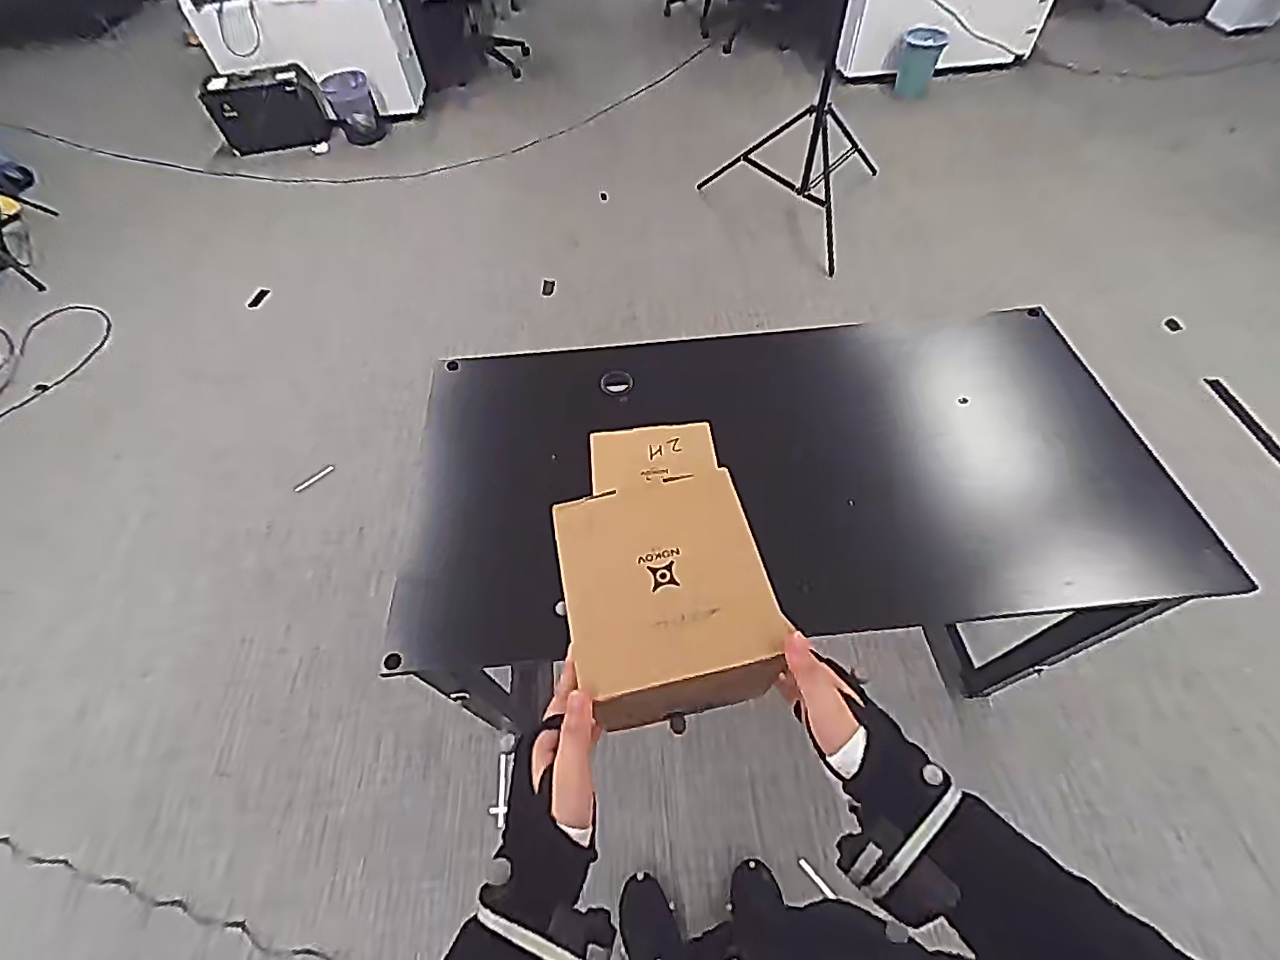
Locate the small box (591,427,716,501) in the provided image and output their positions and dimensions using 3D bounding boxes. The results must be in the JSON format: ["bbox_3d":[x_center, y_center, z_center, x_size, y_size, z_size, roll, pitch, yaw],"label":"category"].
[{"bbox_3d":[0.024,0.050,0.769,0.168,0.176,0.179,-5,55,-1],"label":"small box"}]

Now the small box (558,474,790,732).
[{"bbox_3d":[0.024,0.123,0.522,0.168,0.176,0.179,-13,58,-3],"label":"small box"}]
